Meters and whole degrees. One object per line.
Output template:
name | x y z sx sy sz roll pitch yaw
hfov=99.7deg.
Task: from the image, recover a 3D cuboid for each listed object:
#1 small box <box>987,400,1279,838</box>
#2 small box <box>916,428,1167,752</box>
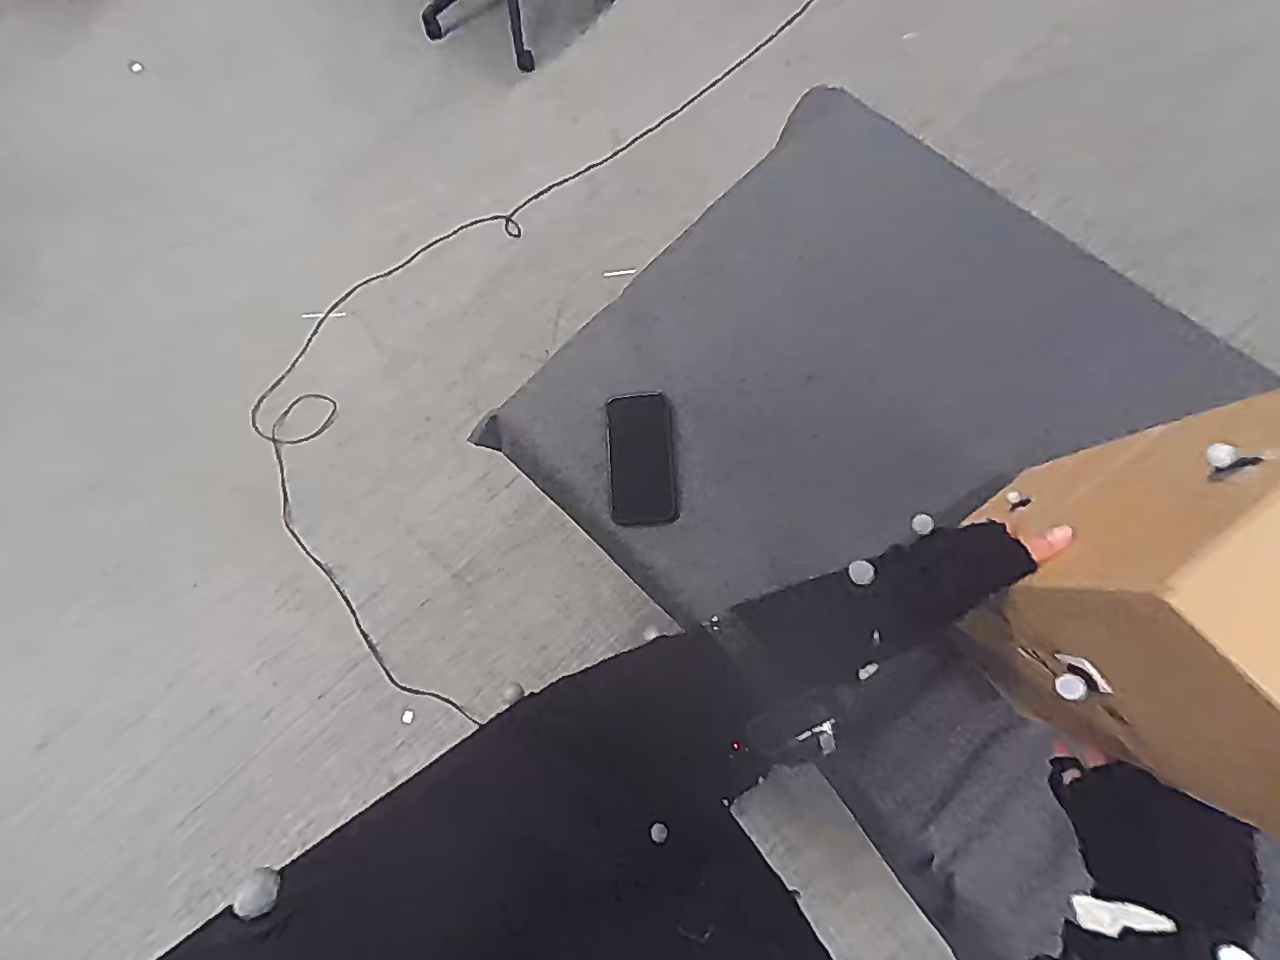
small box | 0.337 0.066 0.285 0.179 0.176 0.168 -40 77 0
small box | 0.361 0.091 0.443 0.179 0.176 0.168 -39 77 -2
